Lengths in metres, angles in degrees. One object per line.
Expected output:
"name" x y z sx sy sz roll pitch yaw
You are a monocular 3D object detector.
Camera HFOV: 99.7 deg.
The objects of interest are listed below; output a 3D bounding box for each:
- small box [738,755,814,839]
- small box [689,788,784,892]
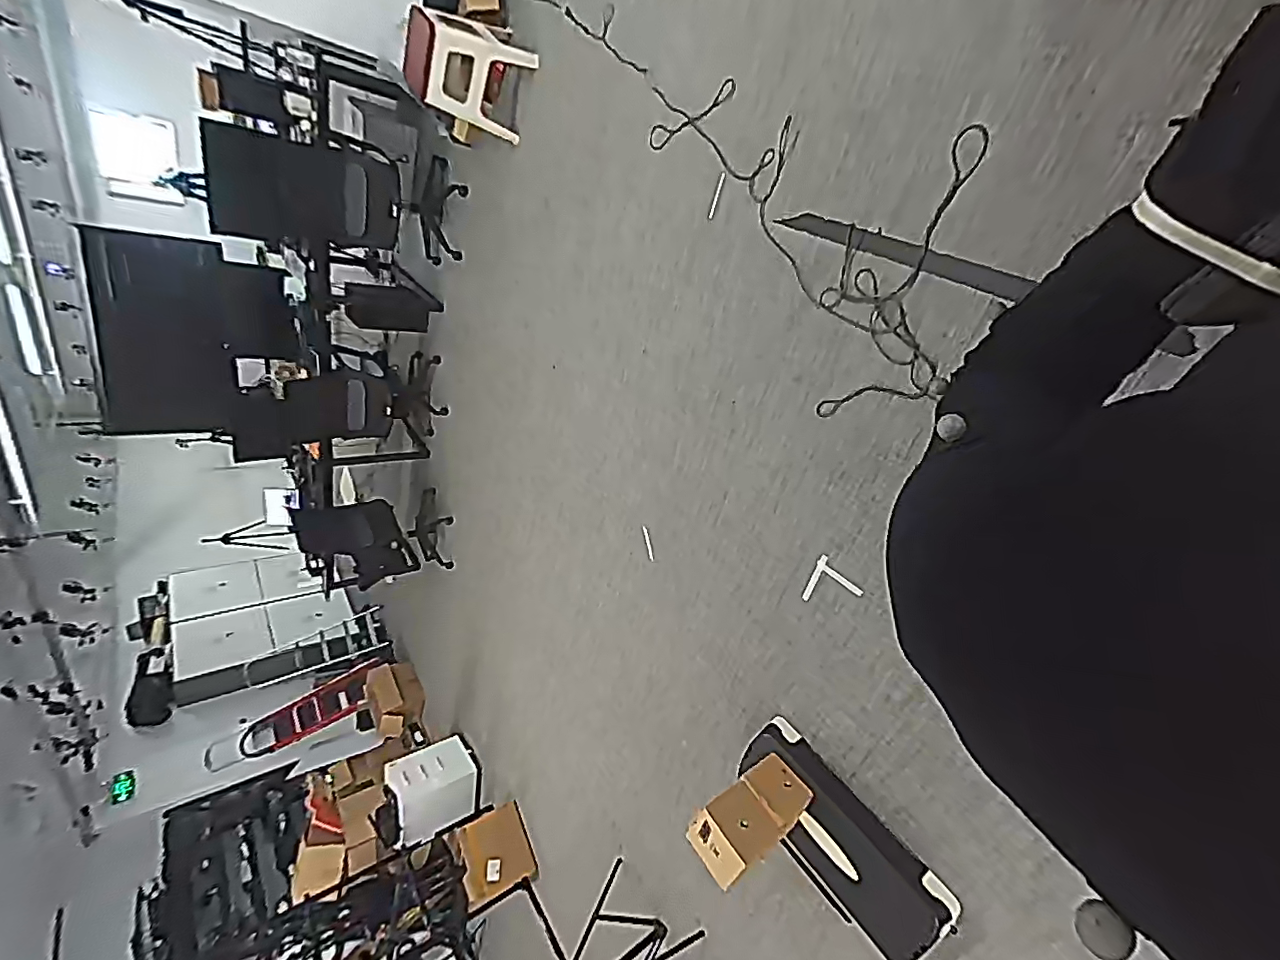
"small box" 0.408 1.004 1.680 0.168 0.176 0.179 39 125 40
"small box" 0.281 1.038 1.581 0.179 0.176 0.168 44 128 36
